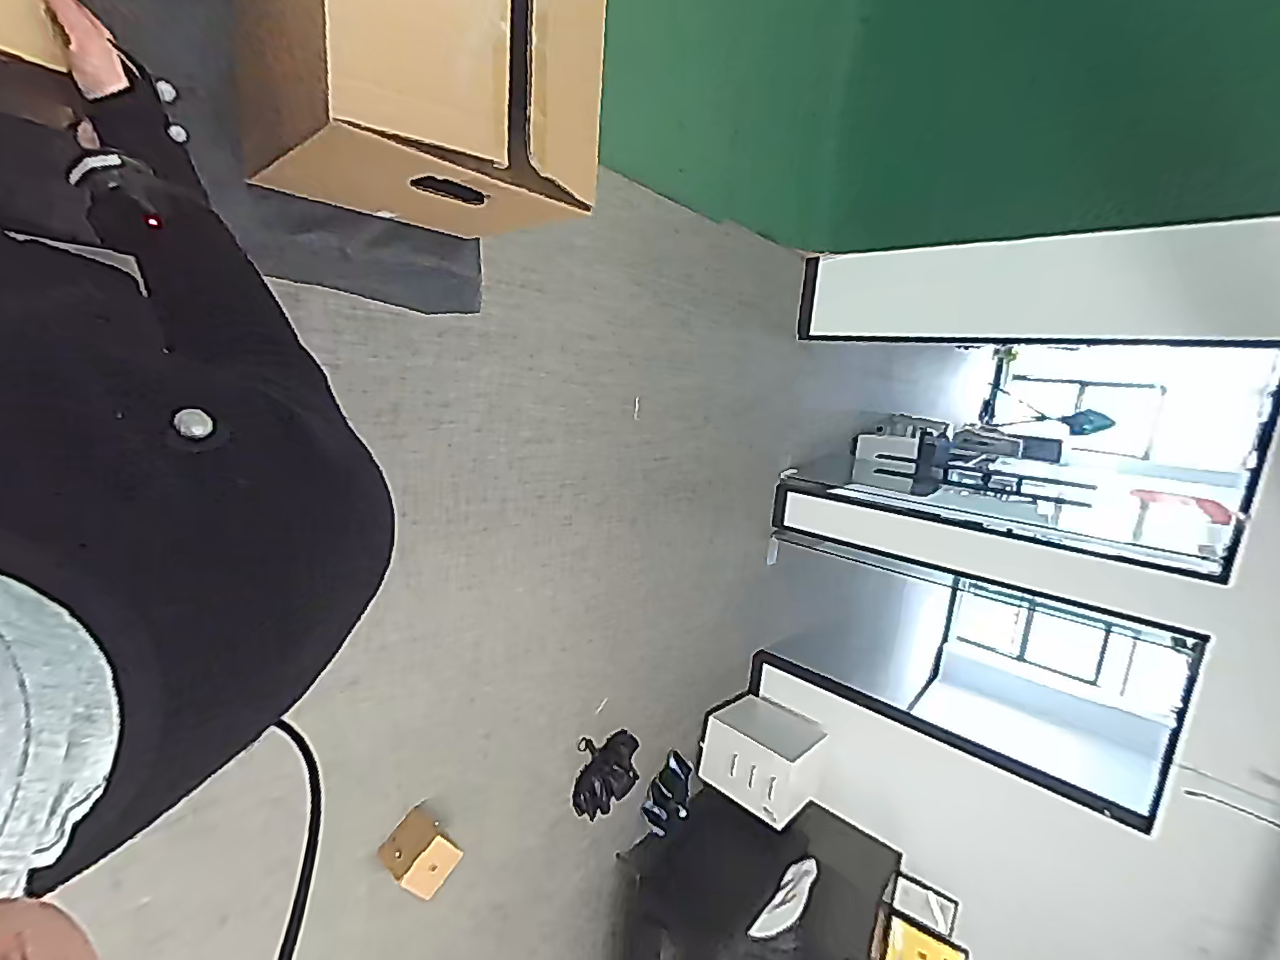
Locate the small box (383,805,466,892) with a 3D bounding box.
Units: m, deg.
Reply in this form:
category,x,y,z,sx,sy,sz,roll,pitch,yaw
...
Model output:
category,x,y,z,sx,sy,sz,roll,pitch,yaw
small box,-0.744,1.259,1.858,0.168,0.176,0.179,-48,135,-29
